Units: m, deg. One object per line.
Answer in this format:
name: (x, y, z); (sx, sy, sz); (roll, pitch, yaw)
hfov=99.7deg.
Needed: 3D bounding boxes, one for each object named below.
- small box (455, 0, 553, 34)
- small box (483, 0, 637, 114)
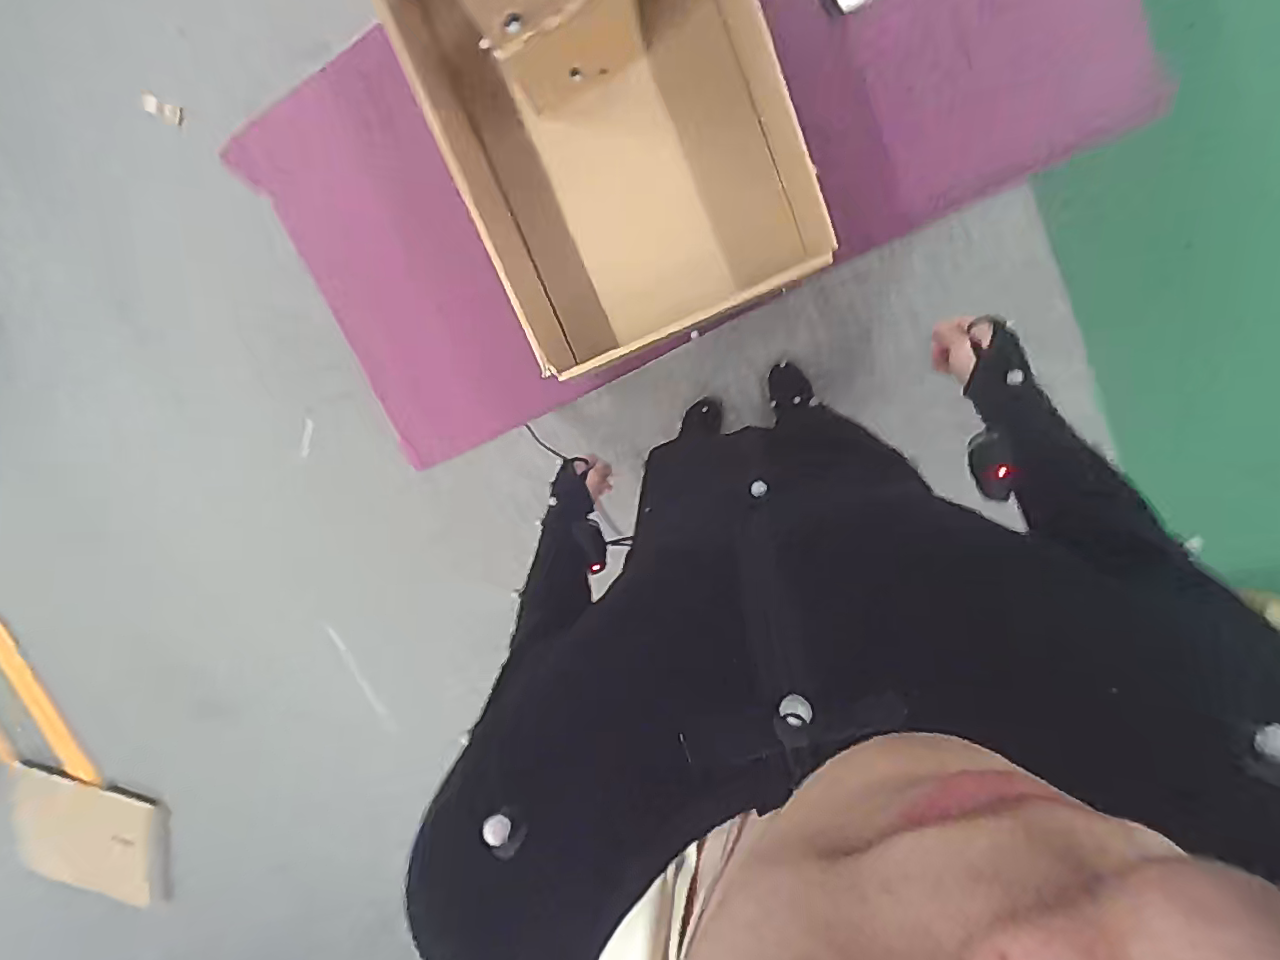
small box: (-0.143, -0.571, 0.501); (0.168, 0.176, 0.179); (-26, 98, 13)
small box: (-0.118, -0.602, 0.660); (0.168, 0.176, 0.179); (-25, 100, 13)
